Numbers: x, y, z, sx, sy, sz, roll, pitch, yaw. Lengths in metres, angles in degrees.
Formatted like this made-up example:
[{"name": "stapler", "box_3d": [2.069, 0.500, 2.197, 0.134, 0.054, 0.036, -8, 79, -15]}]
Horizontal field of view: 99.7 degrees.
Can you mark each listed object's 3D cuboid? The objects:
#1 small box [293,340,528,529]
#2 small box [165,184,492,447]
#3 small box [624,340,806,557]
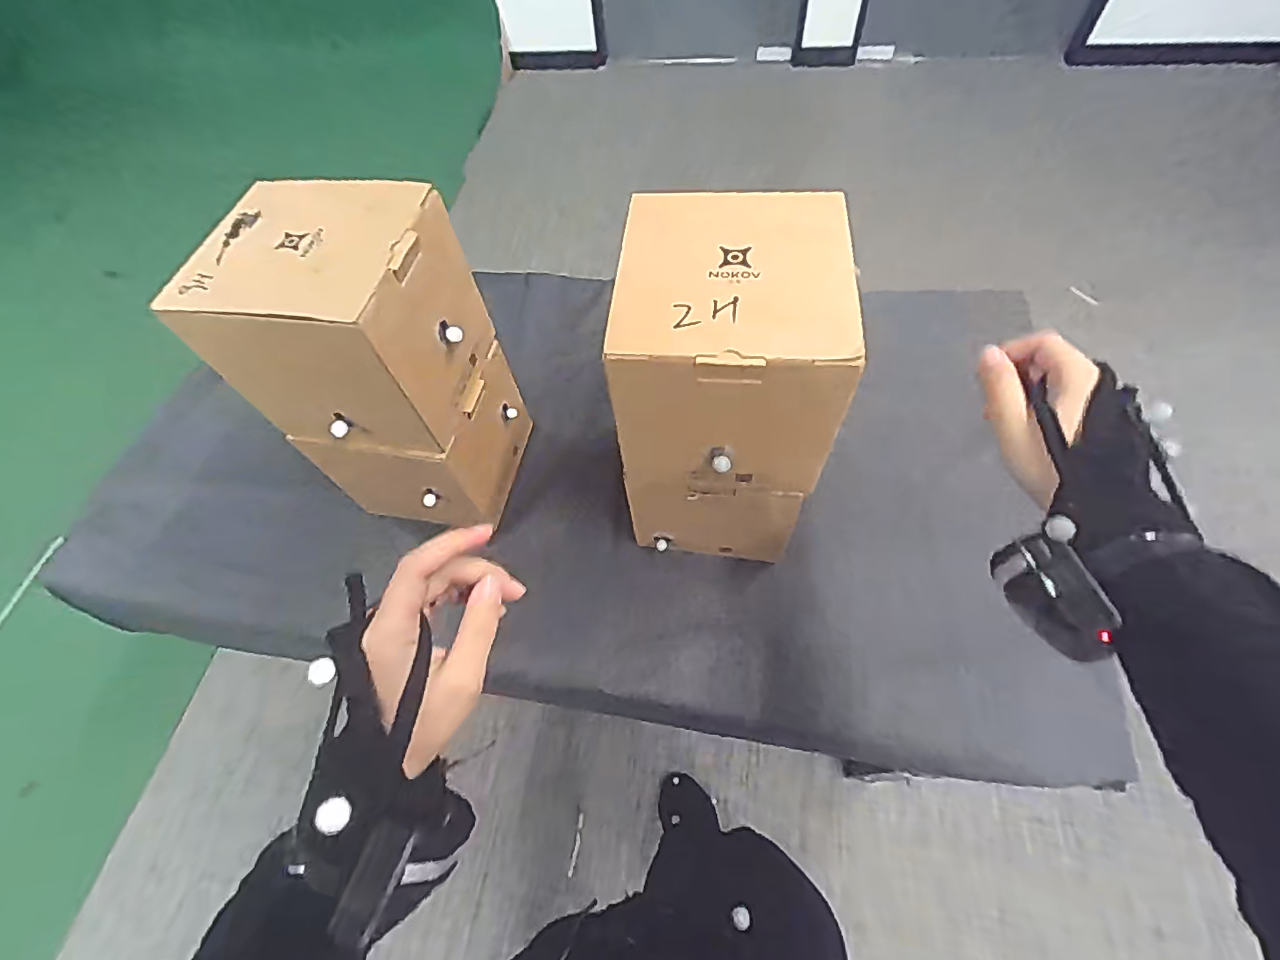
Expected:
[{"name": "small box", "box_3d": [-0.249, -0.055, 0.644, 0.179, 0.176, 0.168, 7, 59, 9]}, {"name": "small box", "box_3d": [-0.260, -0.146, 0.507, 0.179, 0.176, 0.168, 6, 60, 8]}, {"name": "small box", "box_3d": [0.084, -0.029, 0.601, 0.168, 0.176, 0.179, 6, 59, 8]}]
